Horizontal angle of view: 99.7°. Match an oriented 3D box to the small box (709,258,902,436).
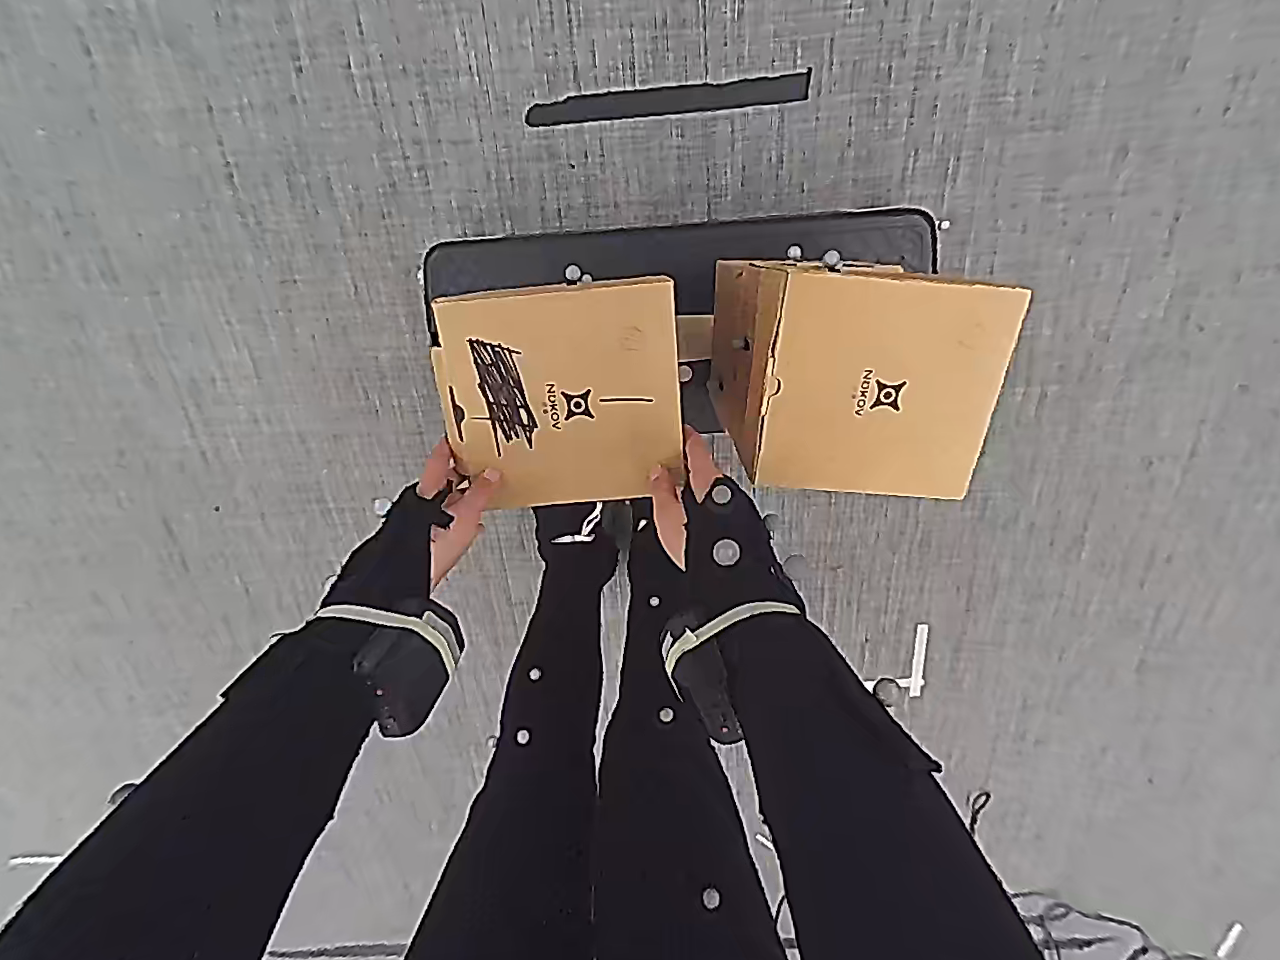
[{"bbox_3d":[0.173,-0.161,0.630,0.168,0.176,0.179,1,113,1],"label":"small box"}]
